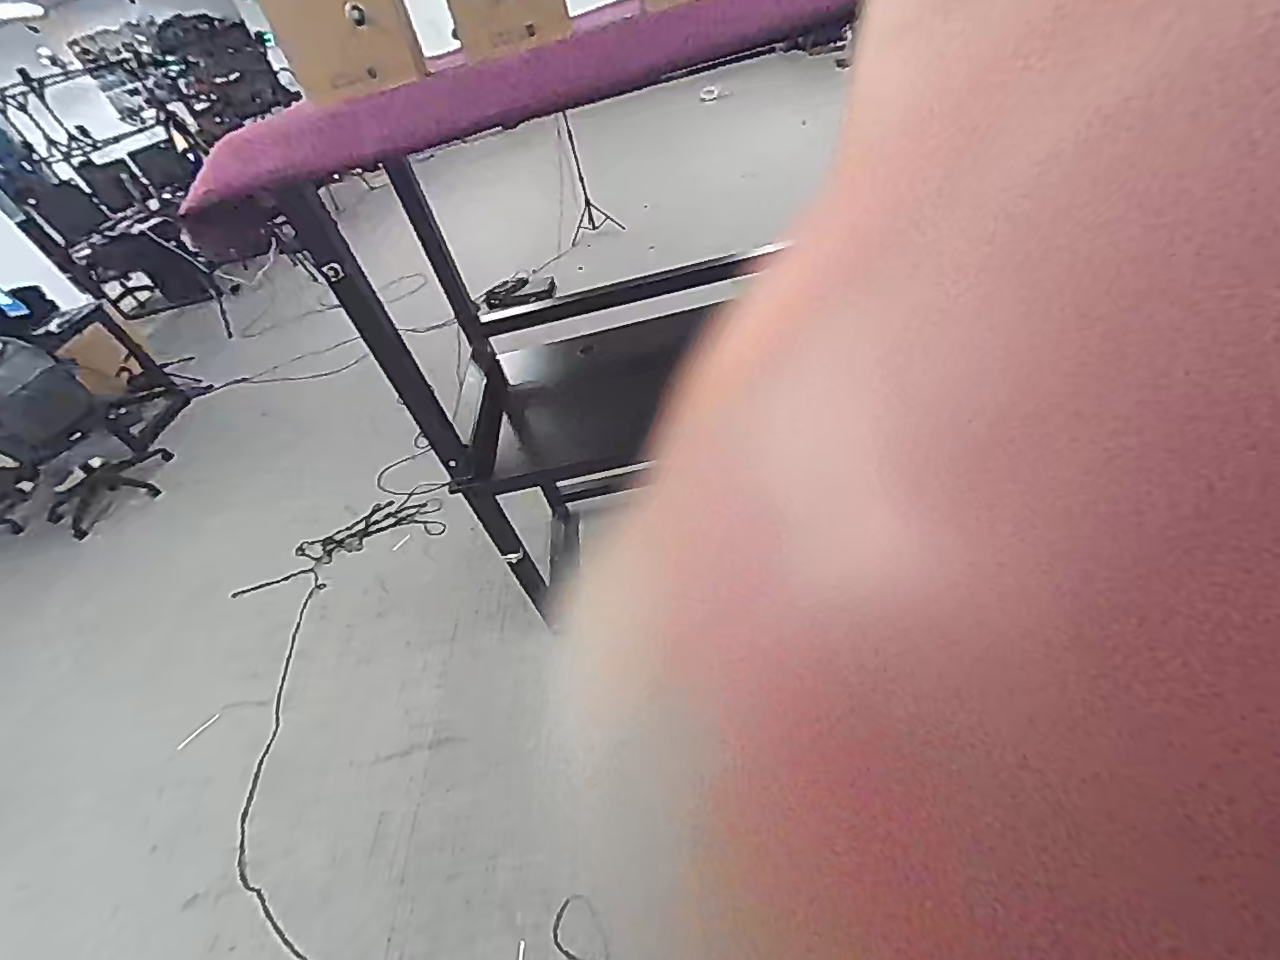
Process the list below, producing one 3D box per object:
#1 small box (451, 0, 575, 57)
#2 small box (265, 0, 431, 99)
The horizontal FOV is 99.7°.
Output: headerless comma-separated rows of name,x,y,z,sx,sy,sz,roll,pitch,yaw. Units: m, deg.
small box,-0.198,-0.749,0.797,0.168,0.176,0.179,-14,43,1
small box,-0.432,-0.691,0.808,0.168,0.176,0.179,-15,42,0
